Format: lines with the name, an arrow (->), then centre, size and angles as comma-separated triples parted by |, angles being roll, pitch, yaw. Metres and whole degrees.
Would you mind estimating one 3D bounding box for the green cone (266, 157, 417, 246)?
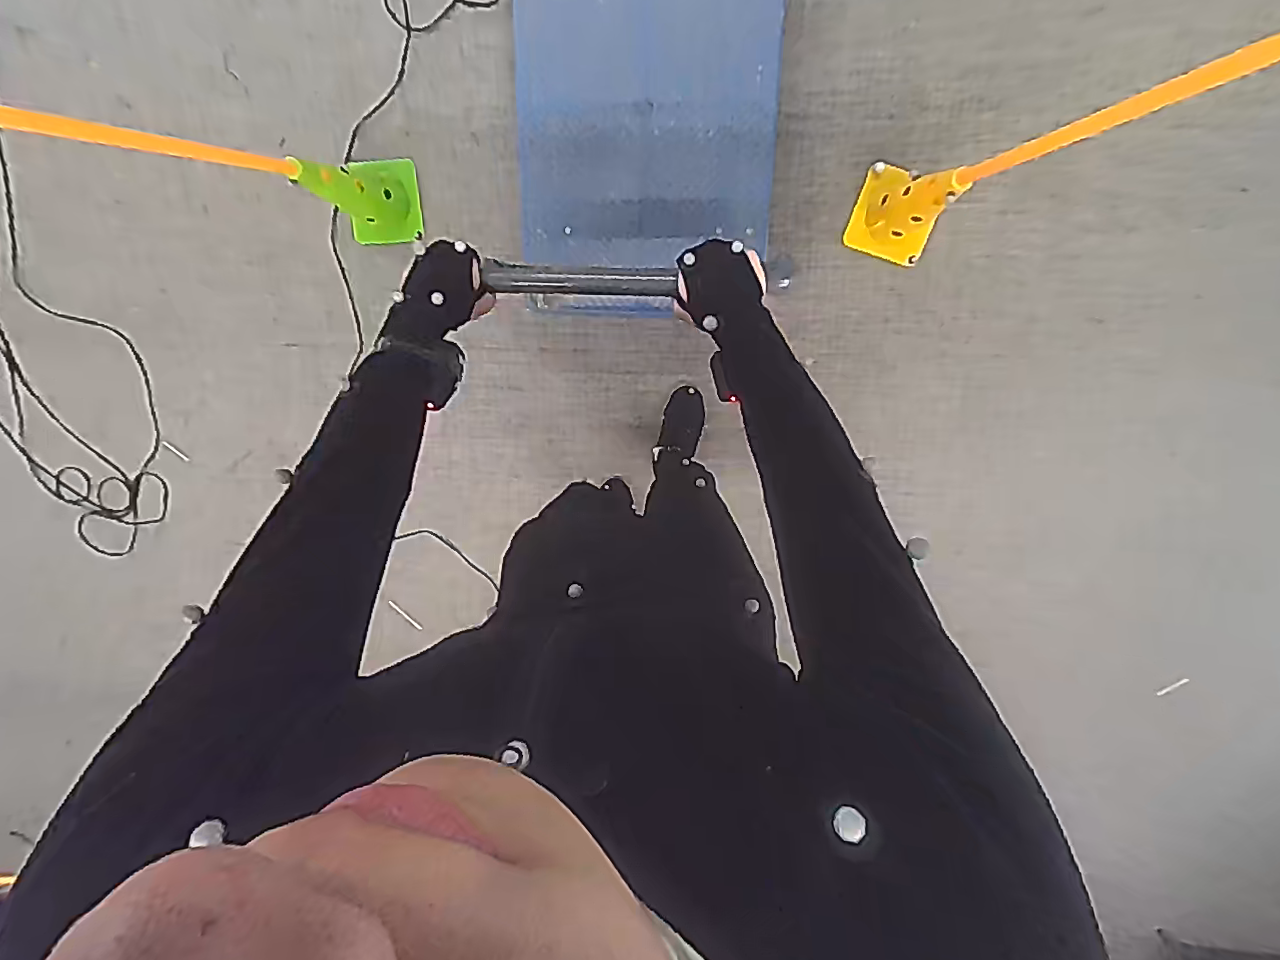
green cone -> -0.716, -0.687, 1.268 | 0.202, 0.368, 0.200 | -1, 105, 7
